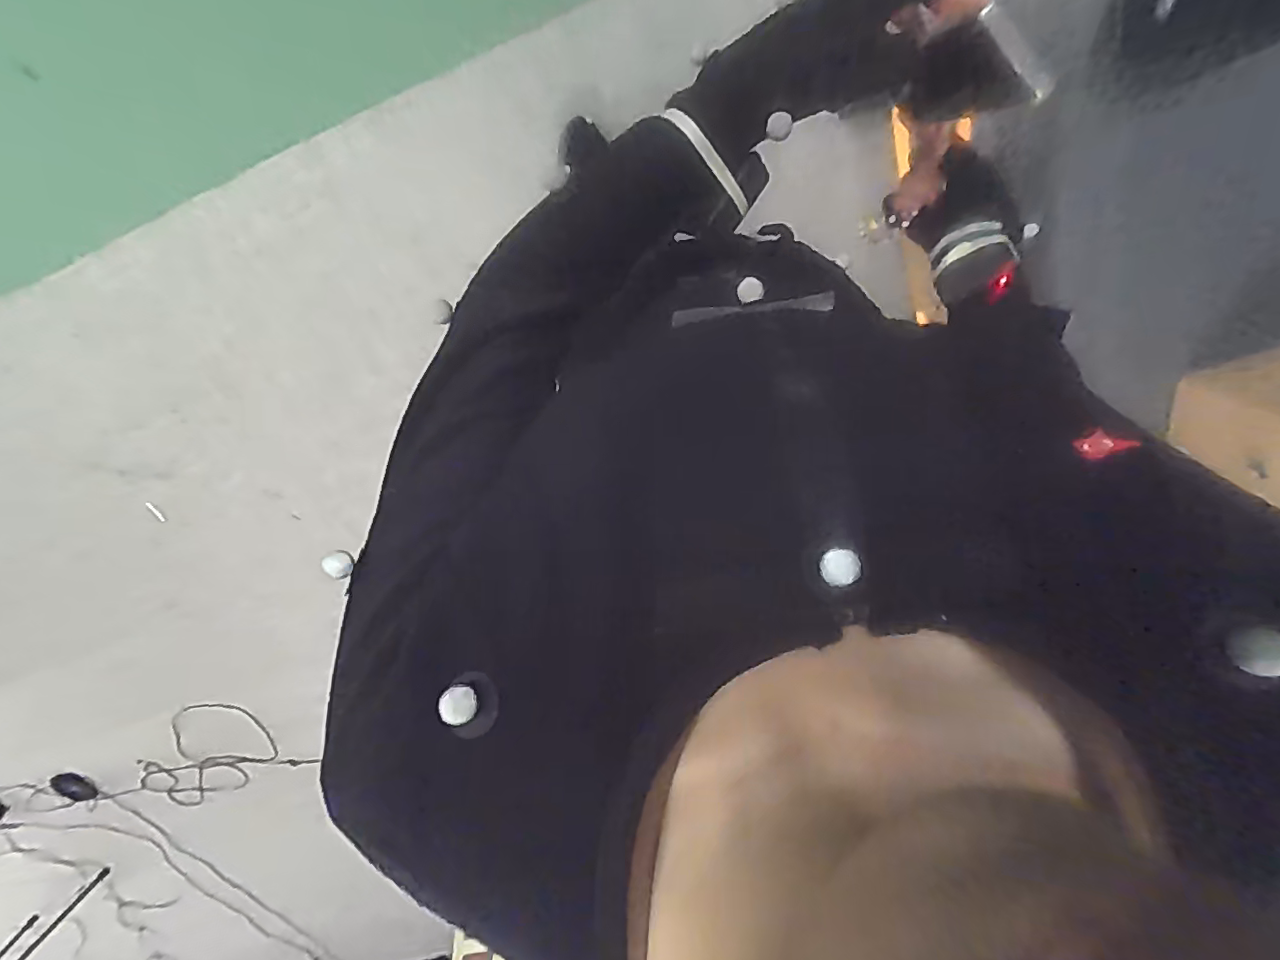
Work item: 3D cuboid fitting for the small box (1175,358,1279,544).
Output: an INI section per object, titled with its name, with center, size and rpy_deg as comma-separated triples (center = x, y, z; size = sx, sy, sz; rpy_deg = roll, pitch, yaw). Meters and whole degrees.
[small box]
center = 0.802, -0.043, 0.645
size = 0.168, 0.176, 0.179
rpy_deg = -17, 119, 9
